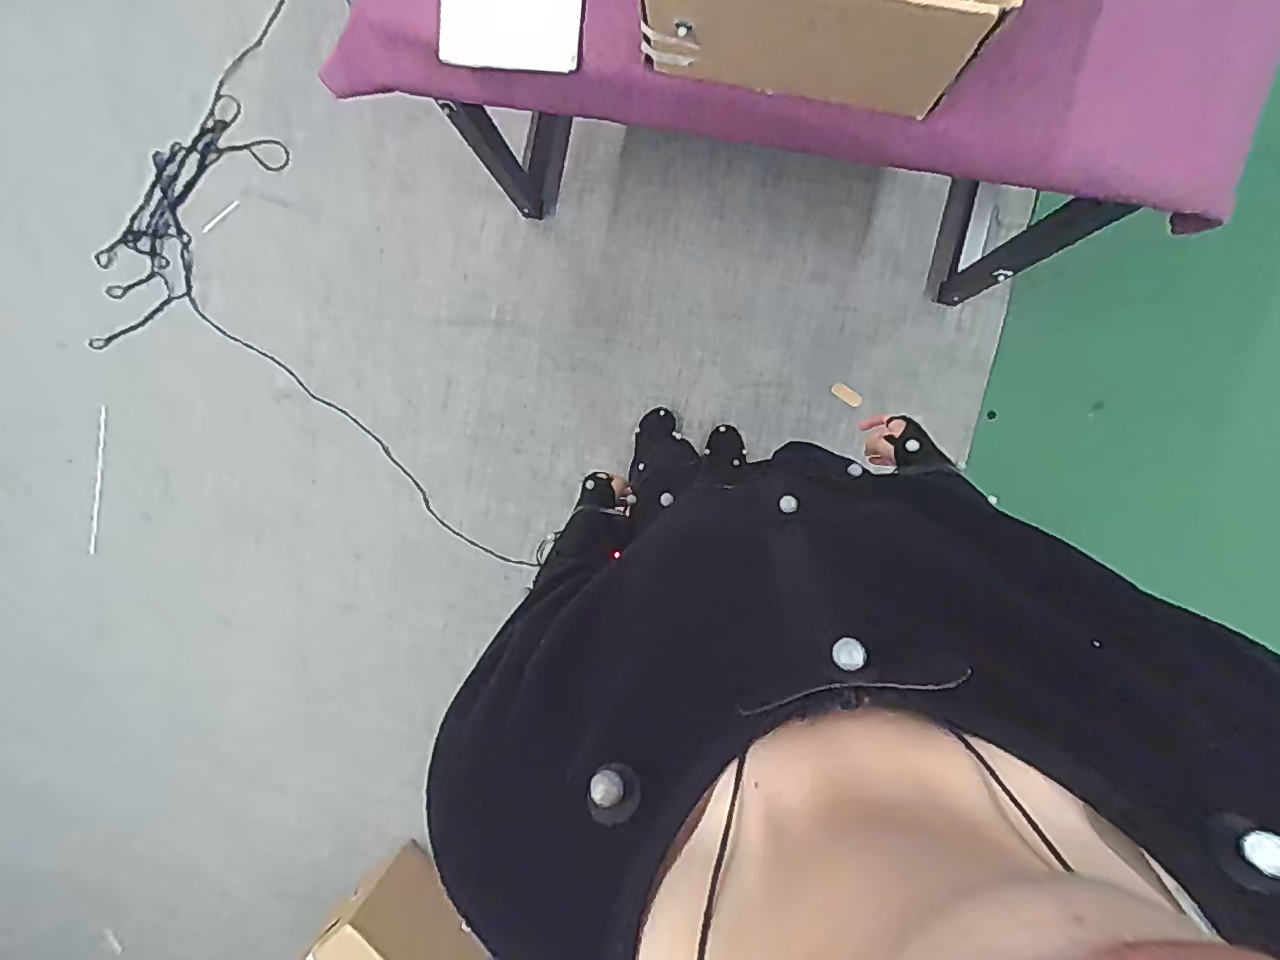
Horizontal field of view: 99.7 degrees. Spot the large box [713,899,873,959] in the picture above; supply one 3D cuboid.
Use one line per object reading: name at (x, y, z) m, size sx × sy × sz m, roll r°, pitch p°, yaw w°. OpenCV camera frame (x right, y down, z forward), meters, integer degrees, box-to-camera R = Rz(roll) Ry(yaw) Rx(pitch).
large box at (0.407, 1.382, 1.431) m, size 0.408 × 0.320 × 0.320 m, roll -2°, pitch 95°, yaw 5°
